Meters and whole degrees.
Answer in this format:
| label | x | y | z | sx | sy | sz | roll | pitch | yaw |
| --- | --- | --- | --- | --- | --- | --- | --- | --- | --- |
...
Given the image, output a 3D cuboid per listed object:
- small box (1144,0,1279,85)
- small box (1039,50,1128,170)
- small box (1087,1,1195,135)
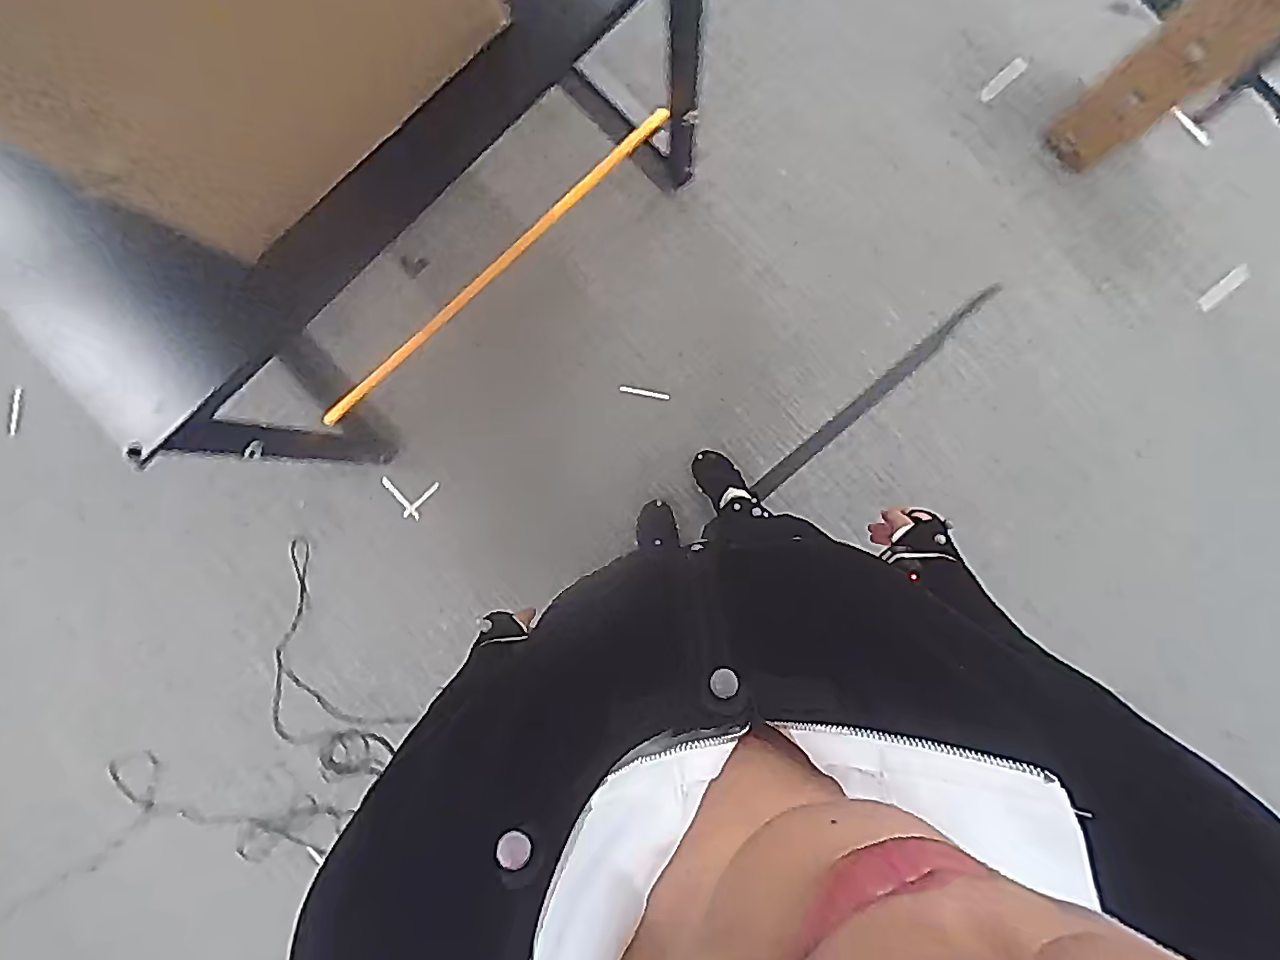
| label | x | y | z | sx | sy | sz | roll | pitch | yaw |
| --- | --- | --- | --- | --- | --- | --- | --- | --- | --- |
| small box | 1.141 | -0.922 | 1.031 | 0.168 | 0.176 | 0.179 | 41 | 92 | 4 |
| small box | 1.169 | -0.936 | 1.360 | 0.179 | 0.176 | 0.168 | -45 | 87 | 3 |
| small box | 1.152 | -0.922 | 1.197 | 0.179 | 0.176 | 0.168 | -44 | 87 | 3 |
